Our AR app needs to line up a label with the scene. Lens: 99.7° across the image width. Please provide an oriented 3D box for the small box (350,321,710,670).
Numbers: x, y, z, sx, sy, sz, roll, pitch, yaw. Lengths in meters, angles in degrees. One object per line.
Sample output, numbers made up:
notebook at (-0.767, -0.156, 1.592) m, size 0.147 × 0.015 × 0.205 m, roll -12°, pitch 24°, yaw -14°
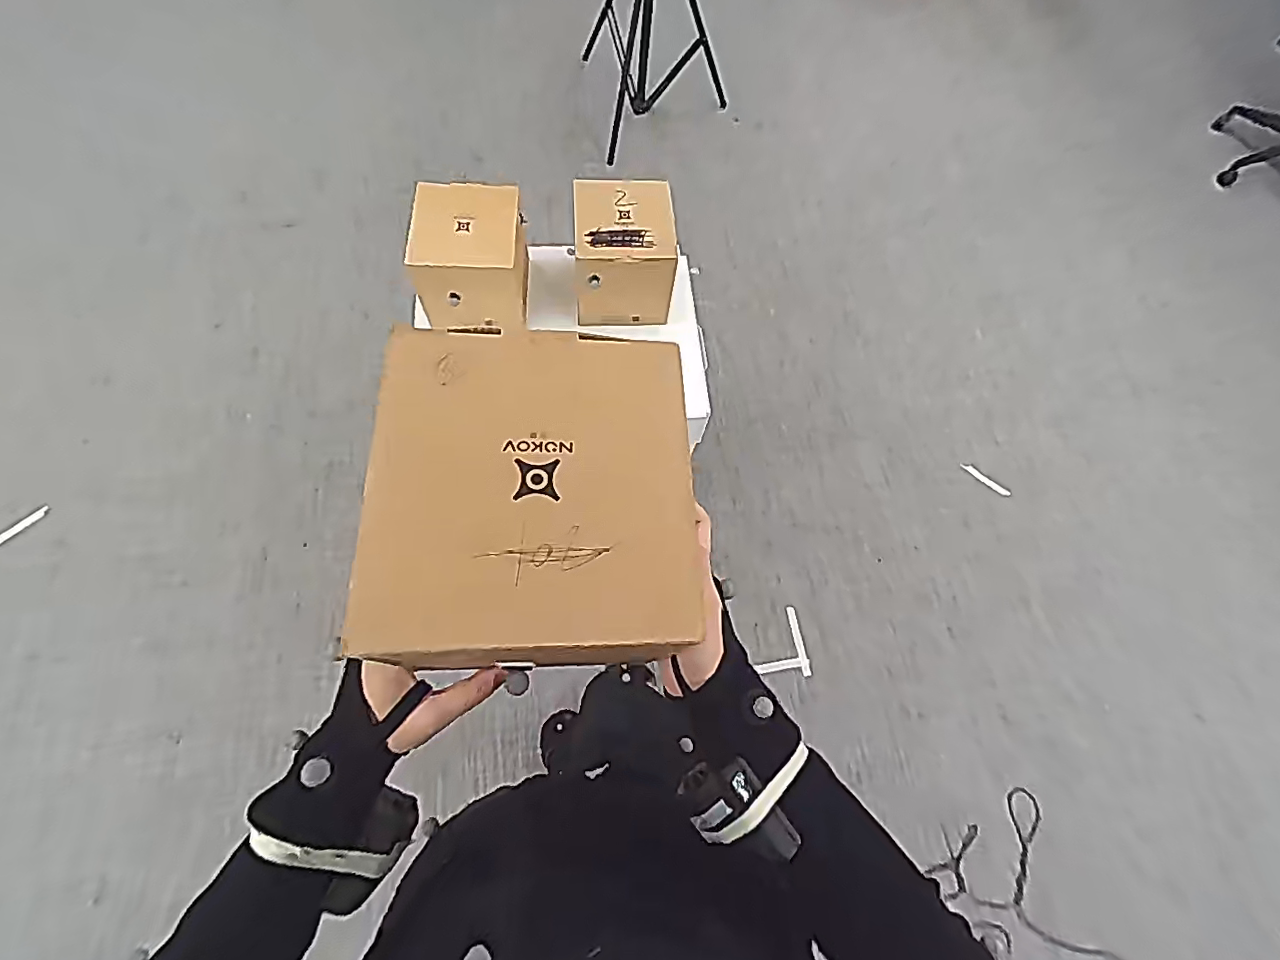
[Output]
small box at (-0.062, 0.024, 0.351) m, size 0.168 × 0.176 × 0.179 m, roll 0°, pitch 68°, yaw -9°

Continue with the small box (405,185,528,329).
small box at (-0.285, -0.371, 0.929) m, size 0.168 × 0.176 × 0.179 m, roll -1°, pitch 68°, yaw -6°
